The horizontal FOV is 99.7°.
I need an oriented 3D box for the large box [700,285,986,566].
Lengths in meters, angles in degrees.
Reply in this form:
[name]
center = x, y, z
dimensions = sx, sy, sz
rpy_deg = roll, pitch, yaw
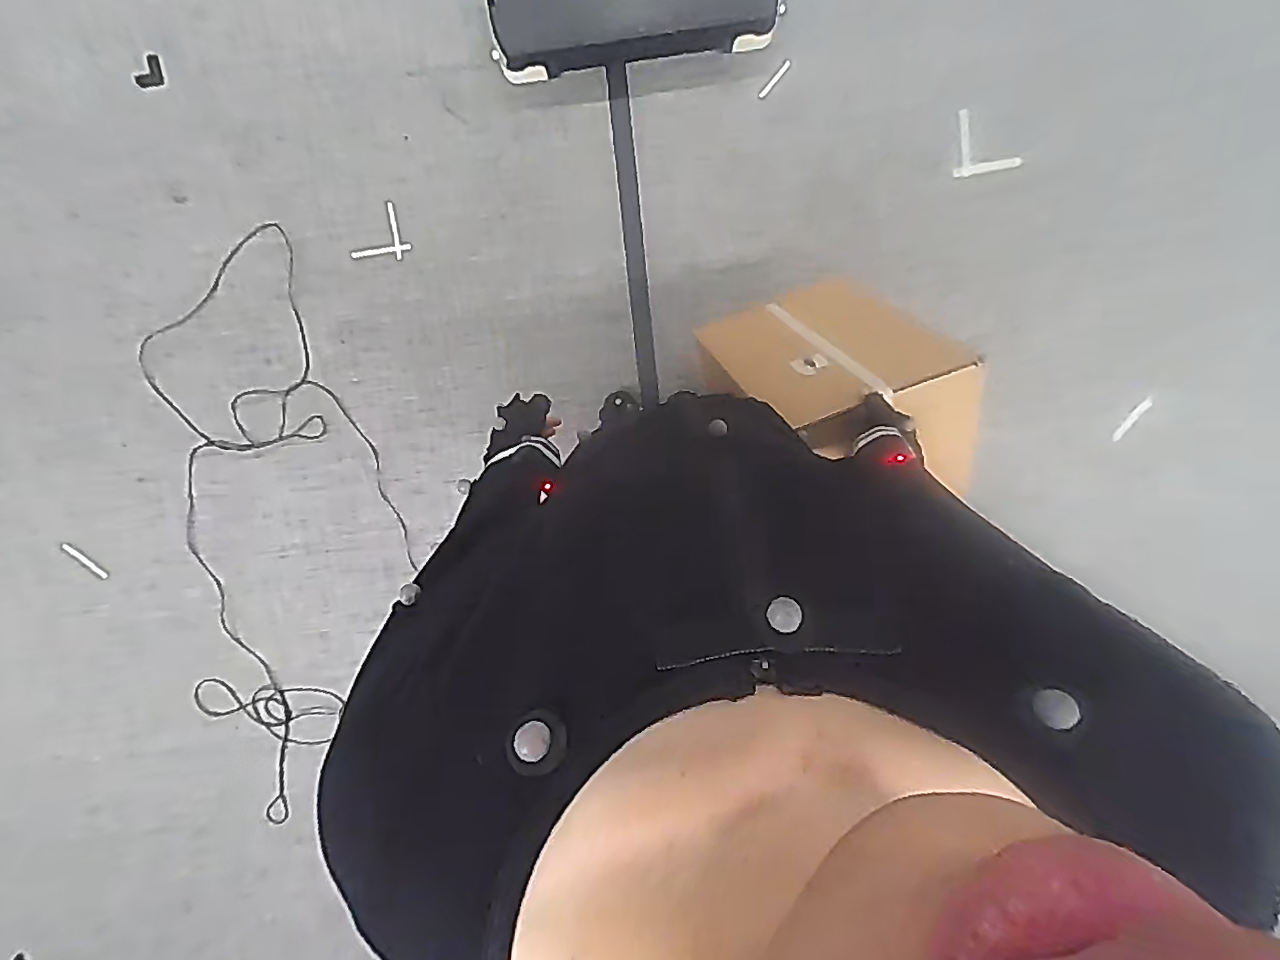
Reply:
[large box]
center = 0.341, -0.118, 1.009
dimensions = 0.320, 0.408, 0.320
rpy_deg = -20, 128, -1
